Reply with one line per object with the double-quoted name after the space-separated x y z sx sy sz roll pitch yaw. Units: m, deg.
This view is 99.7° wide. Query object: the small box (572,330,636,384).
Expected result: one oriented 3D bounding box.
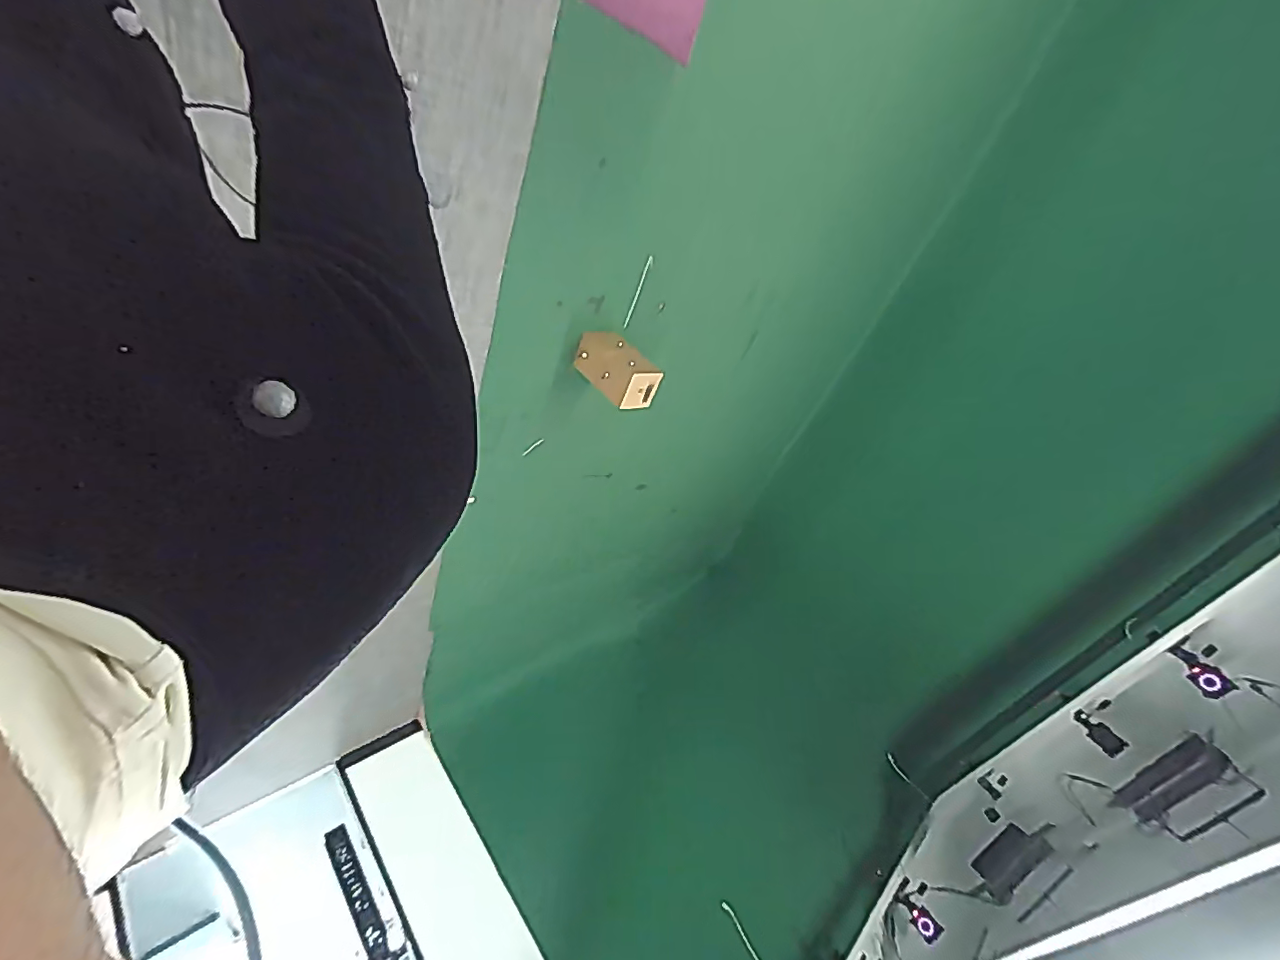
-0.154 -0.522 2.286 0.179 0.176 0.168 -12 137 -45 "small box"
